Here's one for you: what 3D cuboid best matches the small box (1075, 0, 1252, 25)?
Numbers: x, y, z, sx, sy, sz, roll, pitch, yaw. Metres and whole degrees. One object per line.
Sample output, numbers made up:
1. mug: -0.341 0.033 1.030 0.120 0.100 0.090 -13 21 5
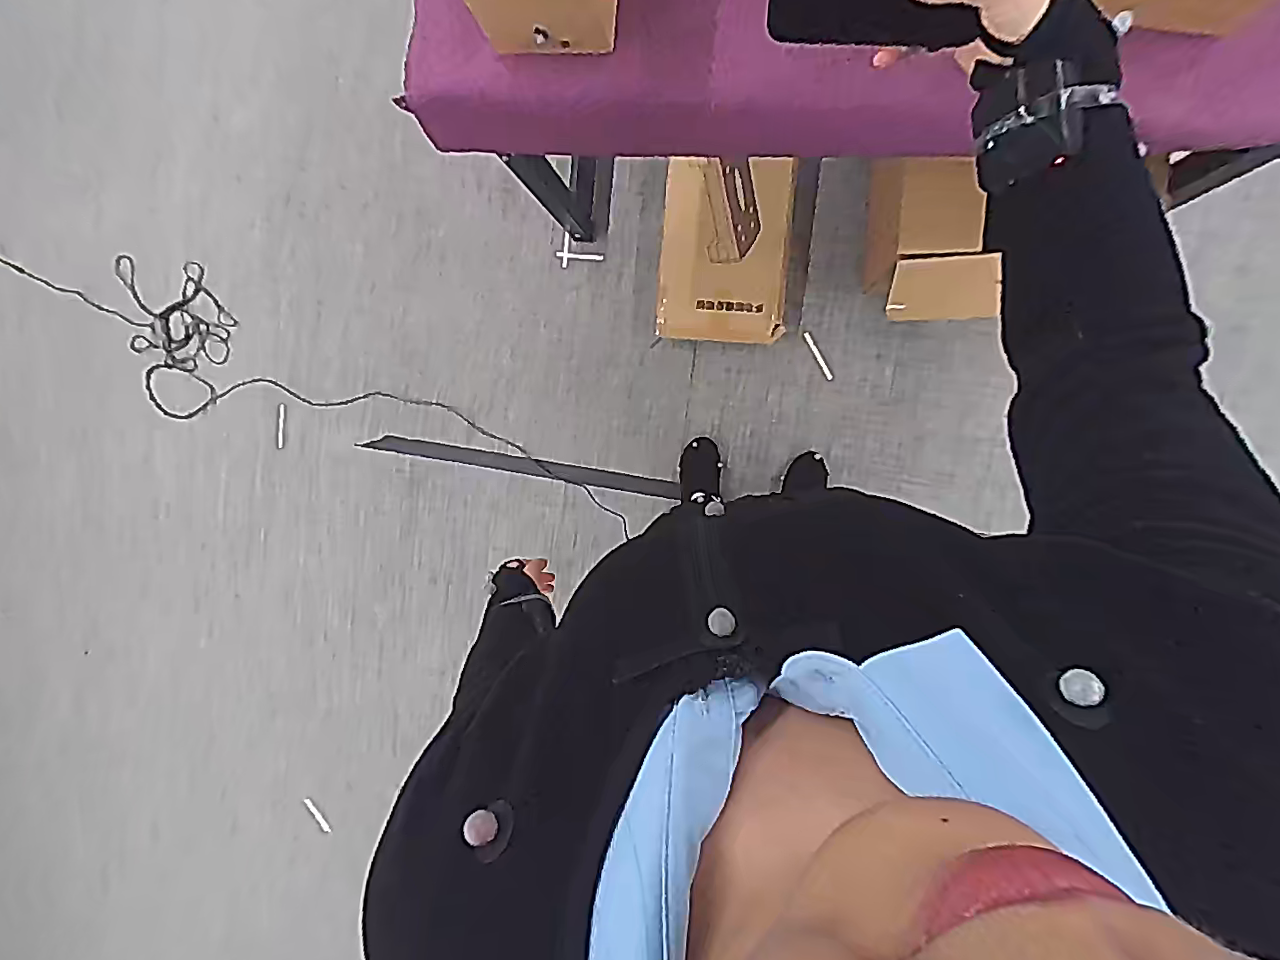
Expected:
1. small box: 0.580 -0.592 0.525 0.179 0.176 0.168 13 98 8
